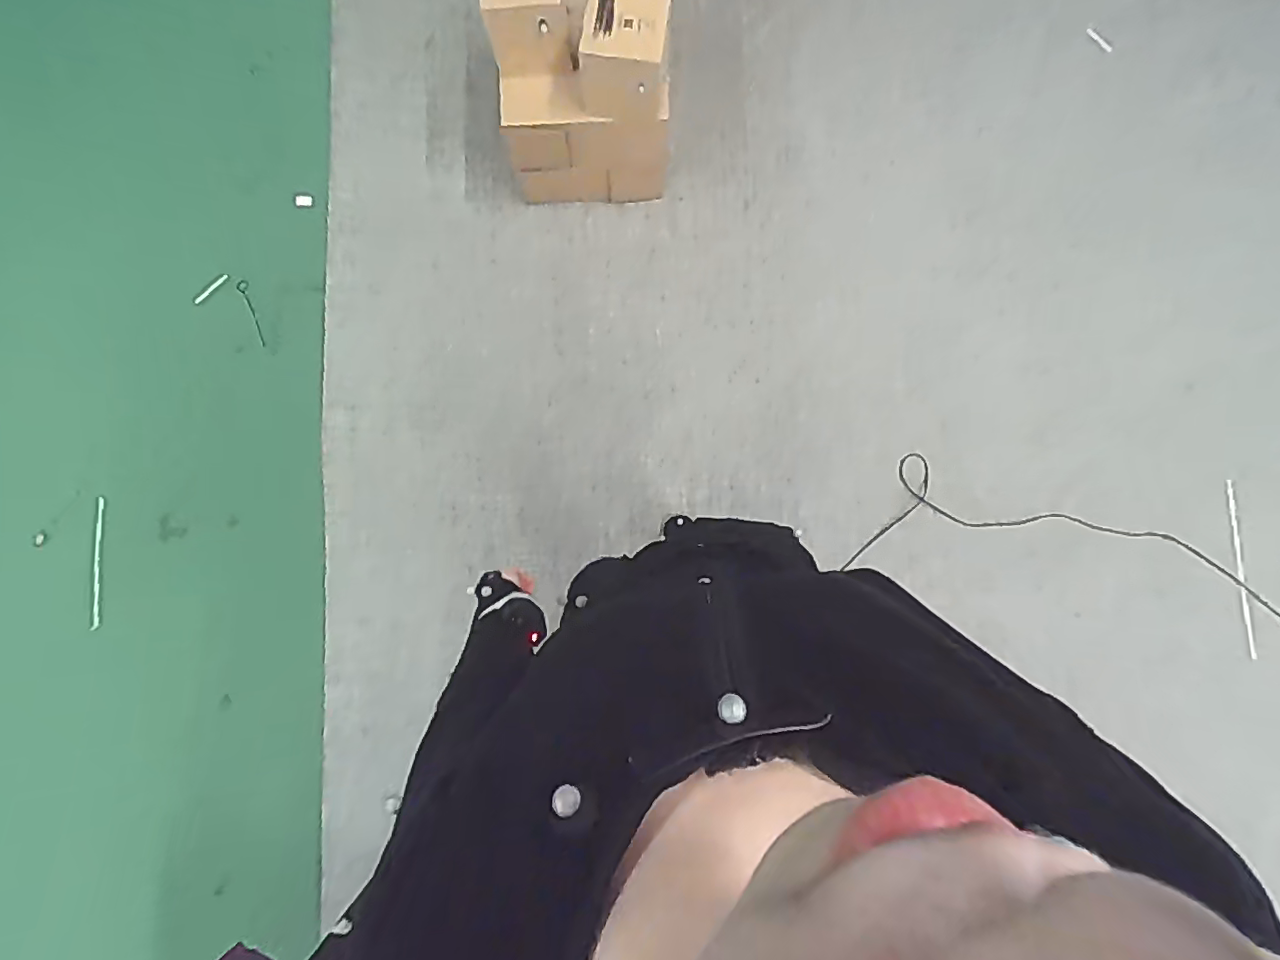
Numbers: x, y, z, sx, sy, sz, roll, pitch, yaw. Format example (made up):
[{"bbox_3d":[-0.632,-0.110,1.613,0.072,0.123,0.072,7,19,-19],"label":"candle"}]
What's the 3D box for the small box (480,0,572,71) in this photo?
[{"bbox_3d":[-0.248,-1.063,1.212,0.179,0.176,0.168,-3,83,2],"label":"small box"}]
